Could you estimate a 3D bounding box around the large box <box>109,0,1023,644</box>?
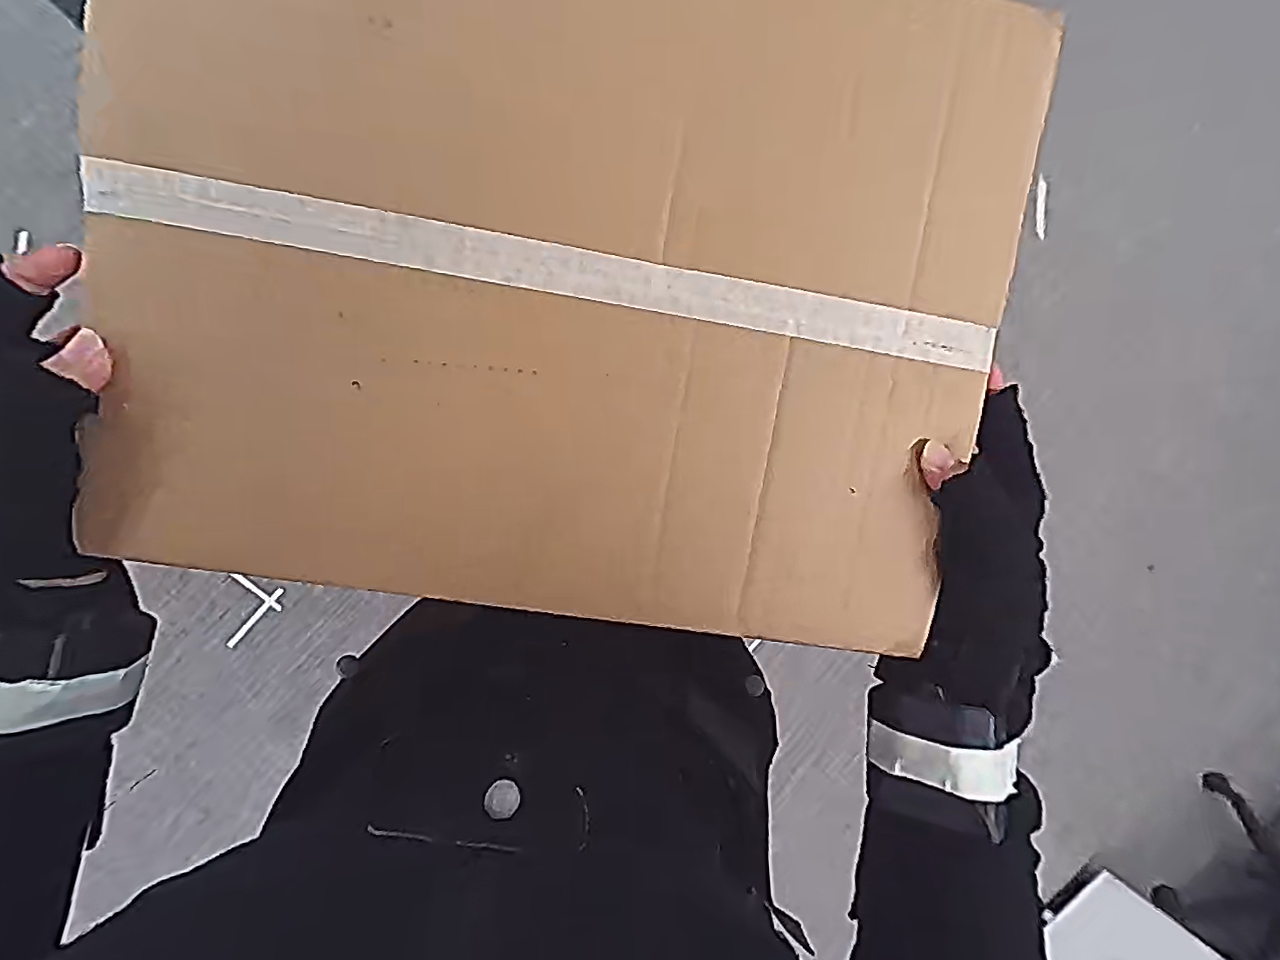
[{"bbox_3d":[-0.044,-0.102,0.402,0.408,0.320,0.320,8,97,-6],"label":"large box"}]
